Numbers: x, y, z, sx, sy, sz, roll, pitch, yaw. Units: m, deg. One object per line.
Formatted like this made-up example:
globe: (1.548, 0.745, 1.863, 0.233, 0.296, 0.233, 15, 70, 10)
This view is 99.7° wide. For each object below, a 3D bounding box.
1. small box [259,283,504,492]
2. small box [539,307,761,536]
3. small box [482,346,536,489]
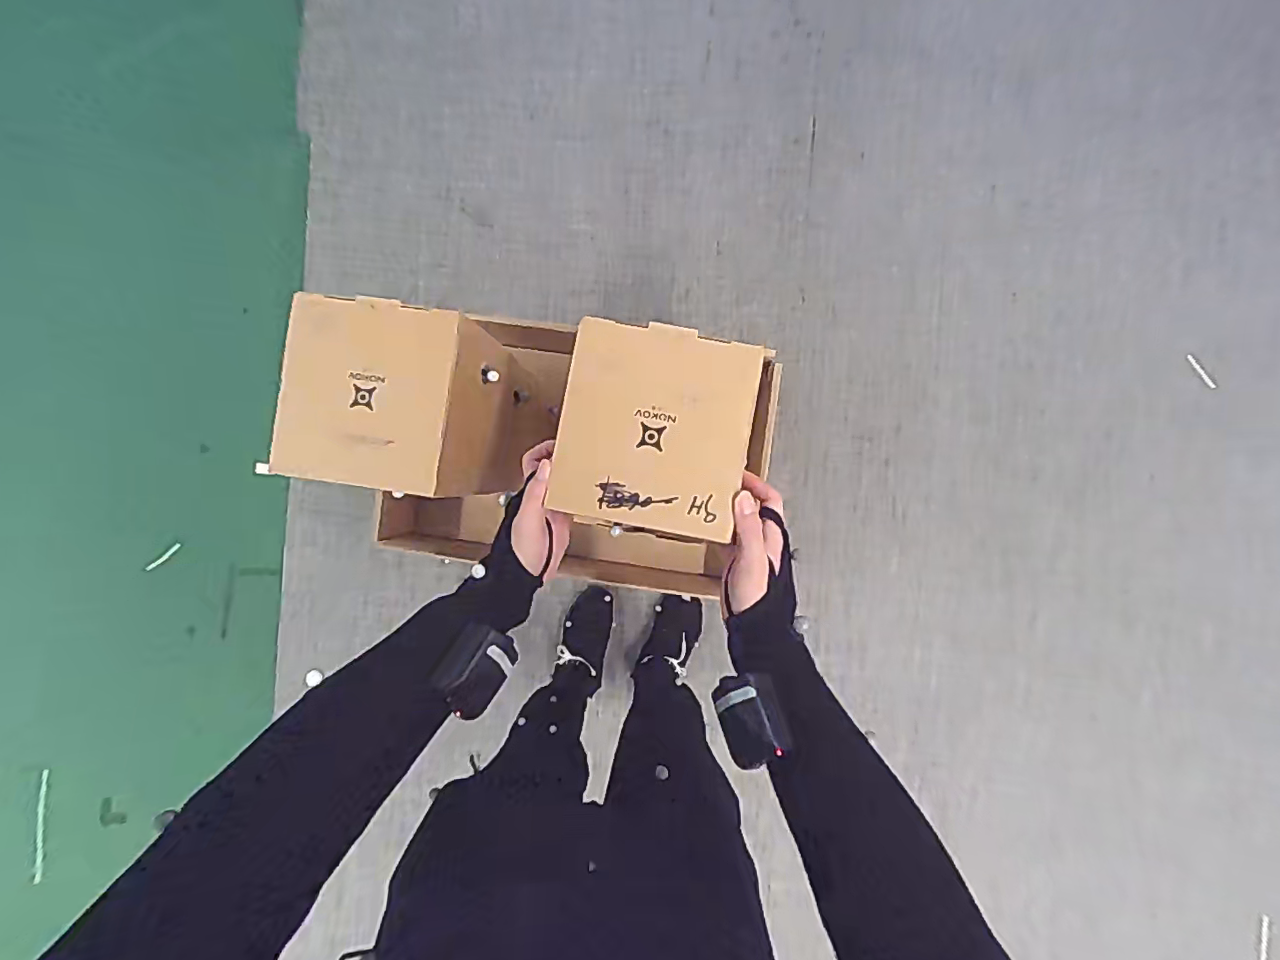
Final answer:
small box: (-0.256, -0.085, 0.578, 0.168, 0.176, 0.179, 9, 90, 4)
small box: (0.012, -0.045, 0.541, 0.168, 0.176, 0.179, 11, 86, 4)
small box: (-0.247, -0.085, 0.740, 0.168, 0.176, 0.179, 7, 90, 4)
